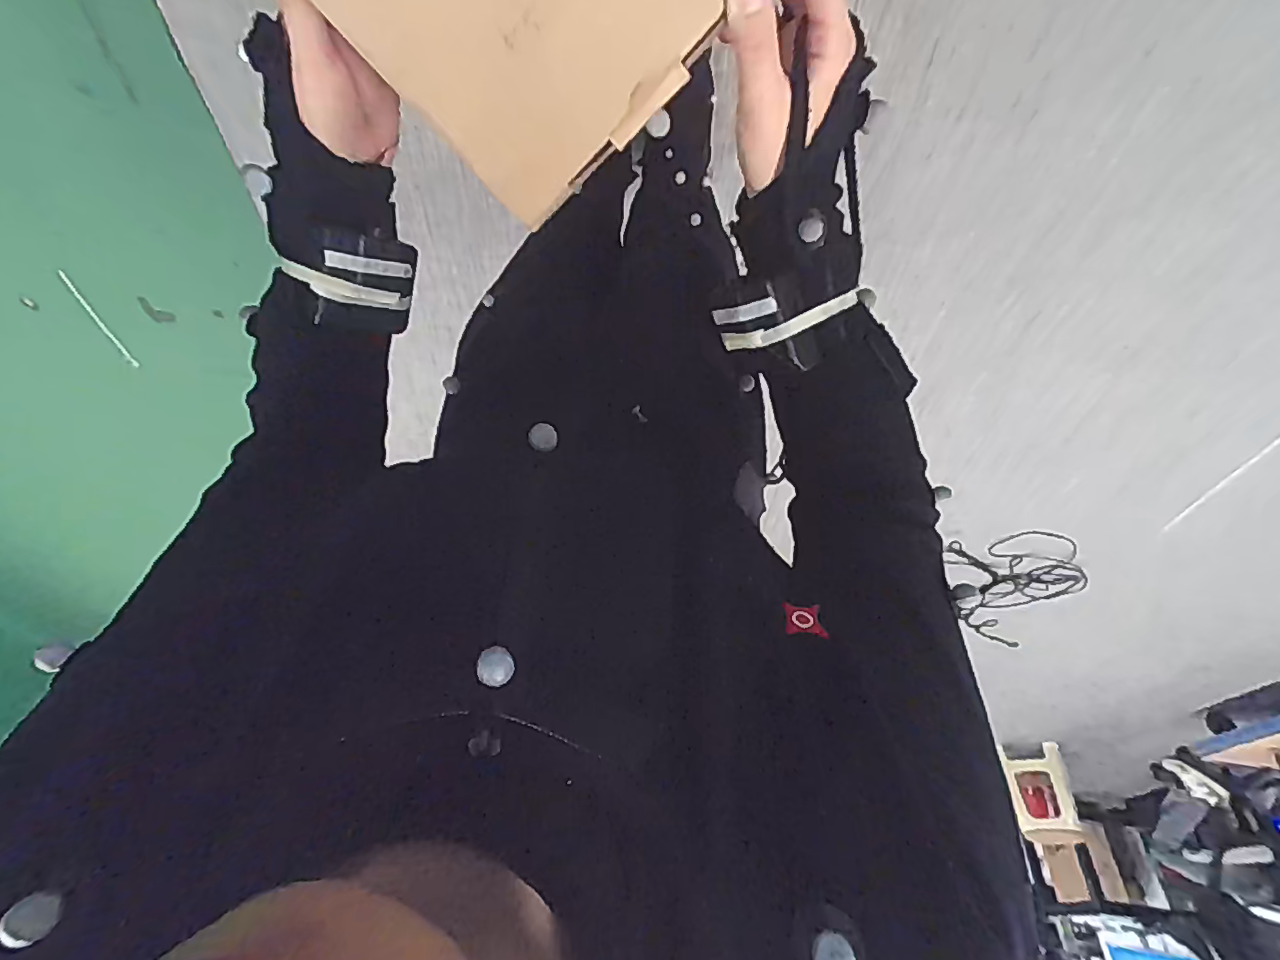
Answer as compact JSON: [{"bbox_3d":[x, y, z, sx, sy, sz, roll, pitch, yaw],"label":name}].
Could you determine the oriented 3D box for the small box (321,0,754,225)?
[{"bbox_3d":[-0.052,-0.276,0.285,0.168,0.176,0.179,-37,117,23],"label":"small box"}]
